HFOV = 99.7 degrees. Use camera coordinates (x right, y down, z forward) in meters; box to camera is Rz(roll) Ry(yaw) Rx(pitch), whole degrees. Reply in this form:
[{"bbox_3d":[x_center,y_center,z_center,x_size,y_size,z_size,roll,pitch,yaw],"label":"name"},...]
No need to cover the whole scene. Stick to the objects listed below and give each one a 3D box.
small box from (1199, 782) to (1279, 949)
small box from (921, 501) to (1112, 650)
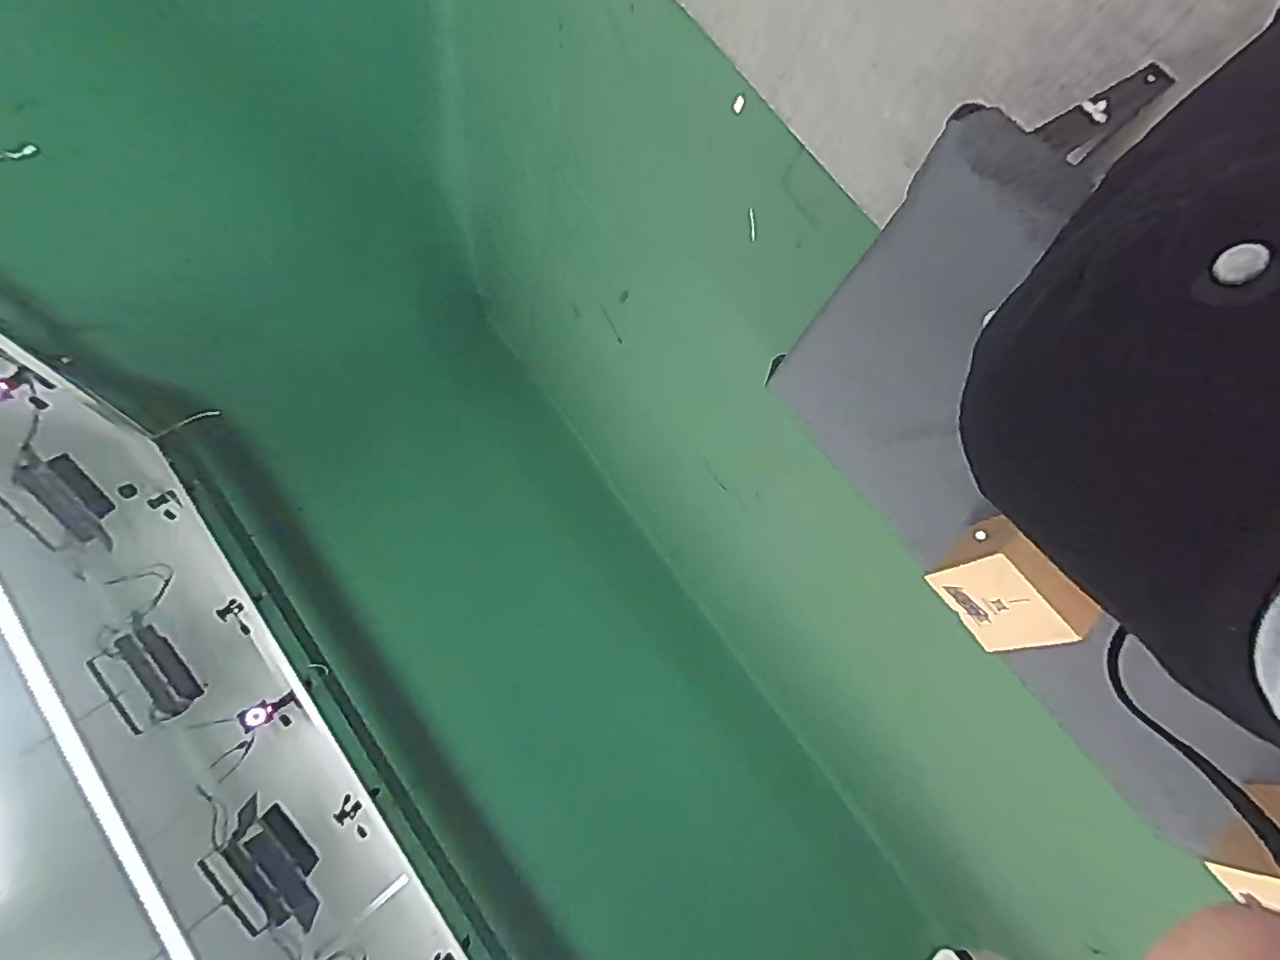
[{"bbox_3d":[0.985,0.566,0.774,0.168,0.176,0.179,51,155,12],"label":"small box"},{"bbox_3d":[0.634,0.164,0.919,0.168,0.176,0.179,51,155,9],"label":"small box"}]
